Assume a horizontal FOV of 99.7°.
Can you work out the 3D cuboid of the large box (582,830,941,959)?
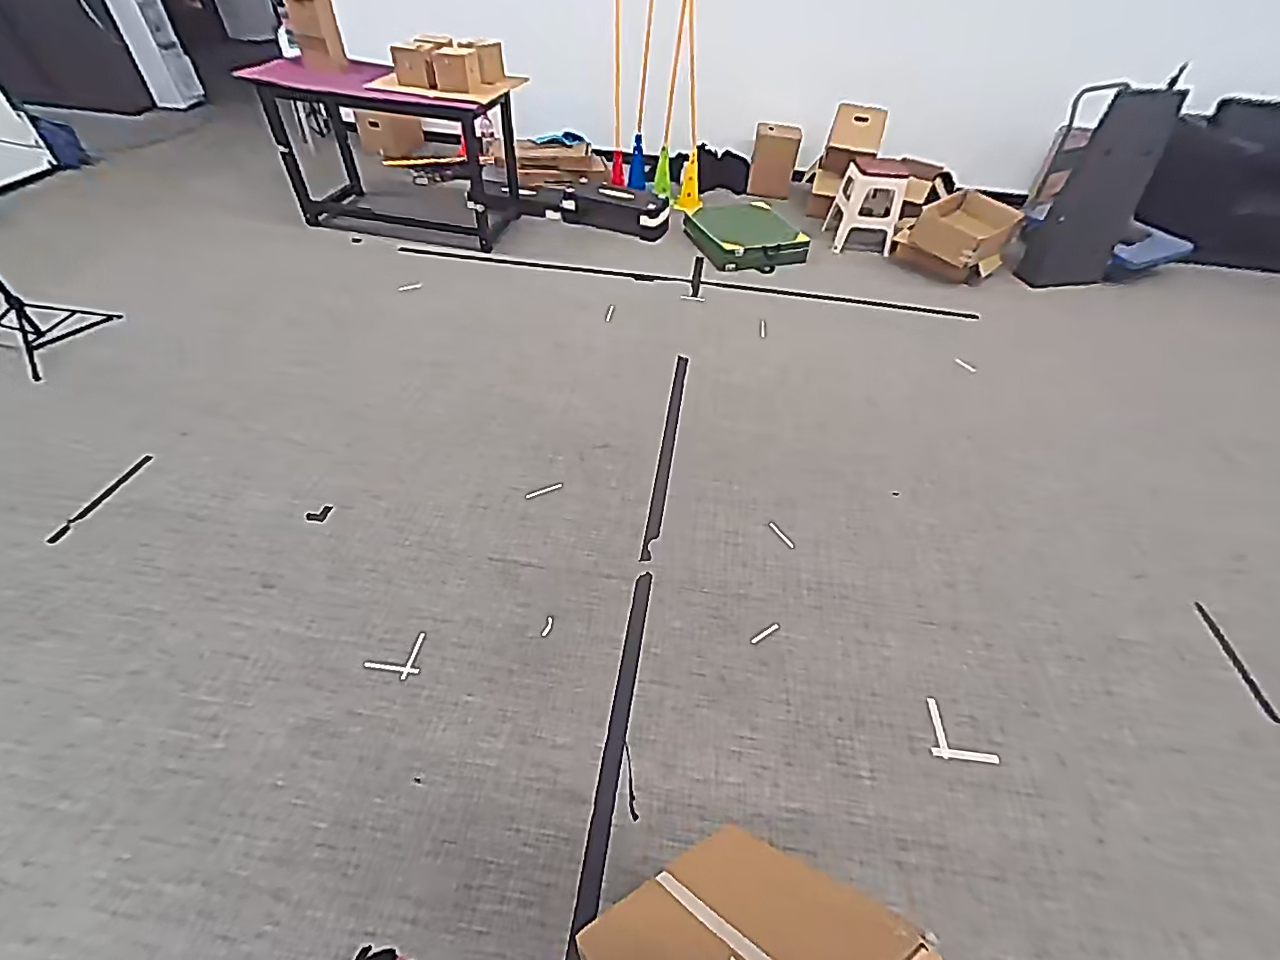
[{"bbox_3d":[0.167,0.742,0.690,0.320,0.408,0.320,-16,84,-27],"label":"large box"}]
